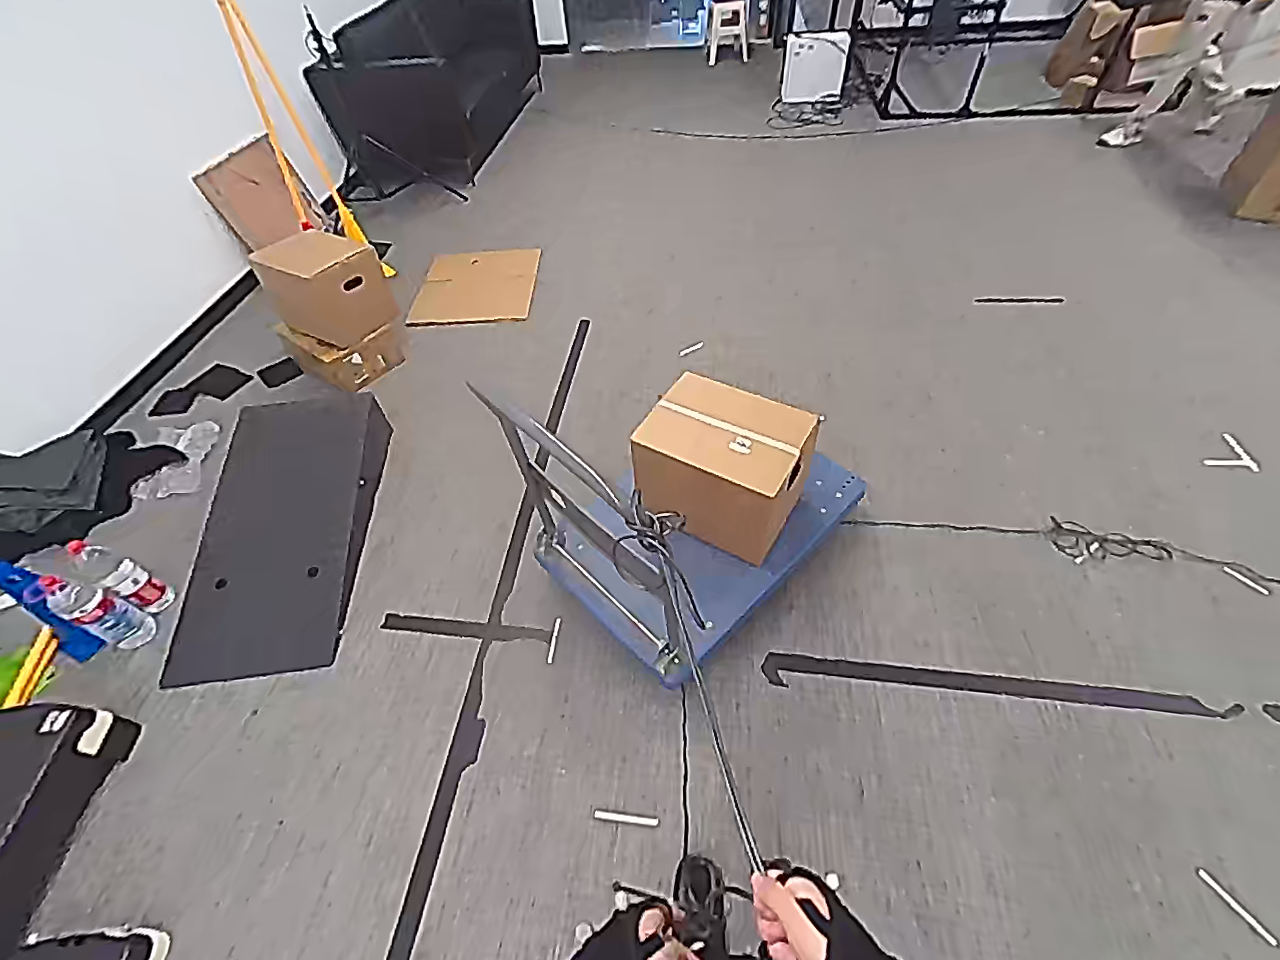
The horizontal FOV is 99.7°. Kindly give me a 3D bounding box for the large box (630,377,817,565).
[{"bbox_3d":[0.223,-0.030,1.515,0.408,0.320,0.320,24,56,22],"label":"large box"}]
